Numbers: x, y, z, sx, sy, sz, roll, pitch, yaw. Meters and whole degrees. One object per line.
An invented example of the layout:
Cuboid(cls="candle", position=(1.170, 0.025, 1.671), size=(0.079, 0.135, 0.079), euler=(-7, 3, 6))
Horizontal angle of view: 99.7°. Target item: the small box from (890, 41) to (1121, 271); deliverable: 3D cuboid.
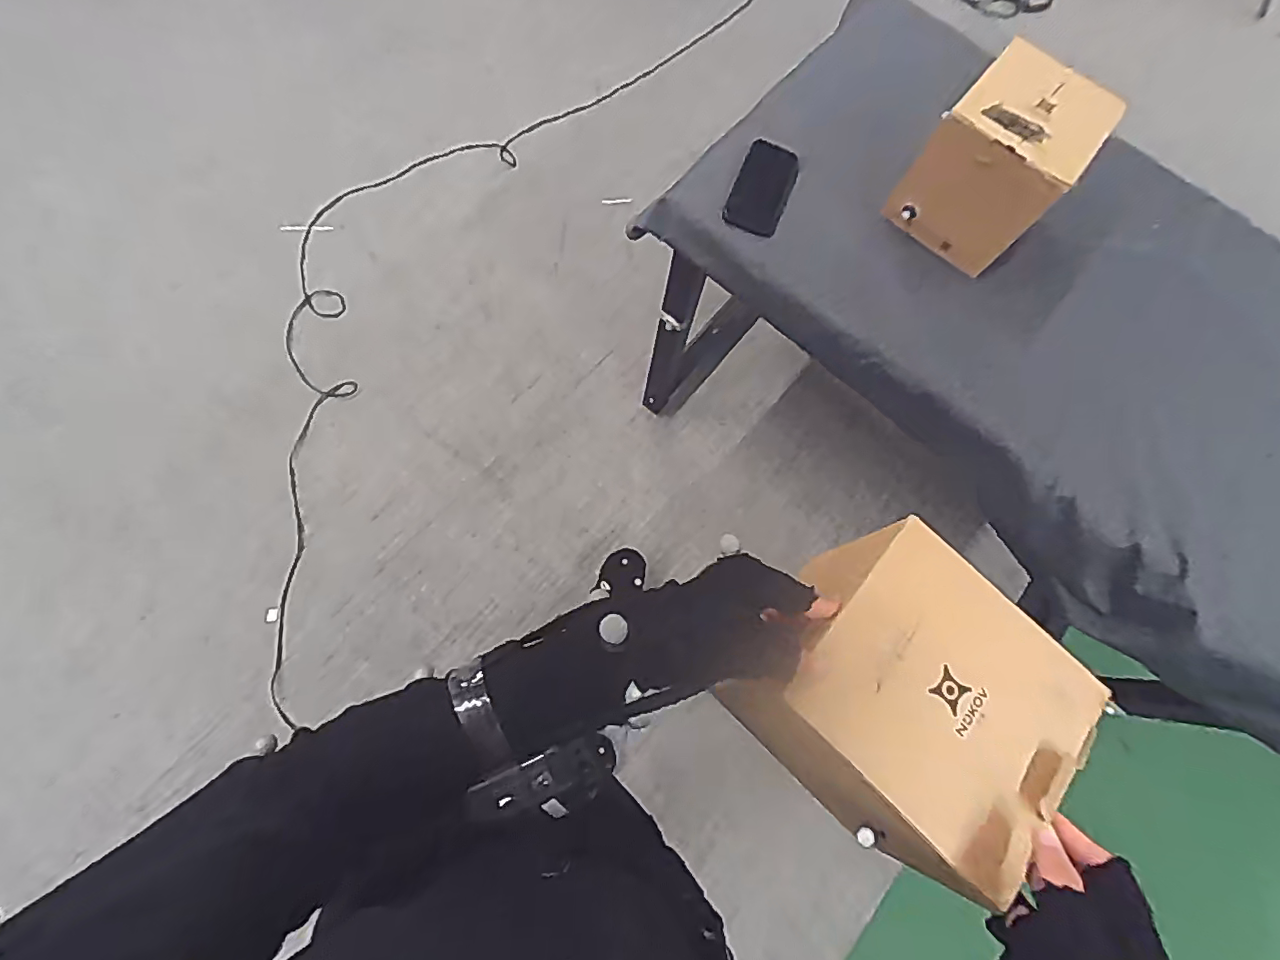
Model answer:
Cuboid(cls="small box", position=(0.477, -0.427, 0.735), size=(0.168, 0.176, 0.179), euler=(39, 74, 5))
